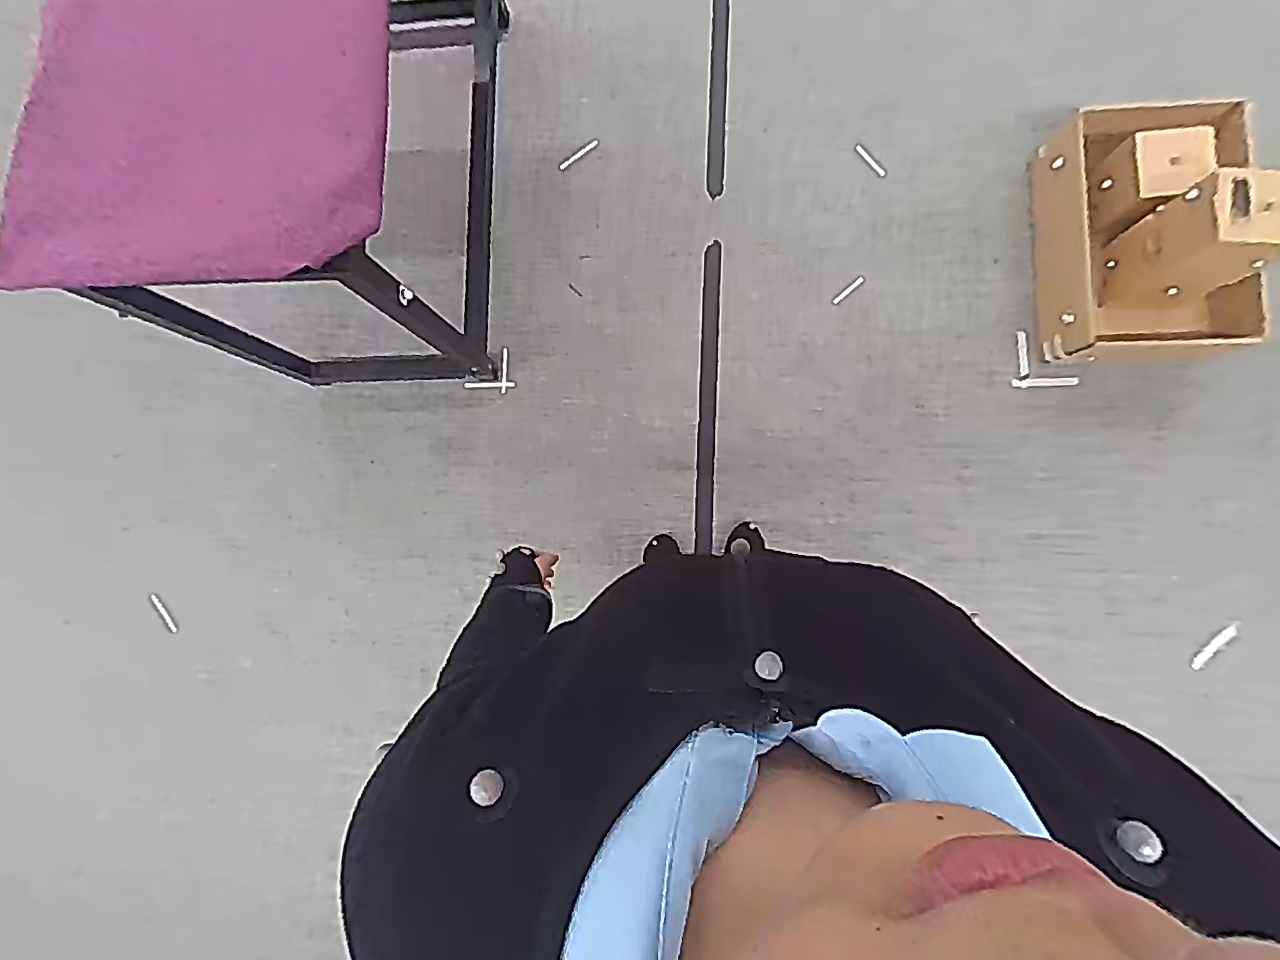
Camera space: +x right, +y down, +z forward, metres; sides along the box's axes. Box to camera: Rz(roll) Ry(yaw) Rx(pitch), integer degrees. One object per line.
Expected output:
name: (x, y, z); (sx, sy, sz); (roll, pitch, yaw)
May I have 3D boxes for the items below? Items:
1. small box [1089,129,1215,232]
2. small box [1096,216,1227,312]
small box: (1.287, -0.752, 1.376); (0.179, 0.176, 0.168); (-1, 87, 5)
small box: (1.306, -0.537, 1.361); (0.179, 0.176, 0.168); (5, 83, 6)
